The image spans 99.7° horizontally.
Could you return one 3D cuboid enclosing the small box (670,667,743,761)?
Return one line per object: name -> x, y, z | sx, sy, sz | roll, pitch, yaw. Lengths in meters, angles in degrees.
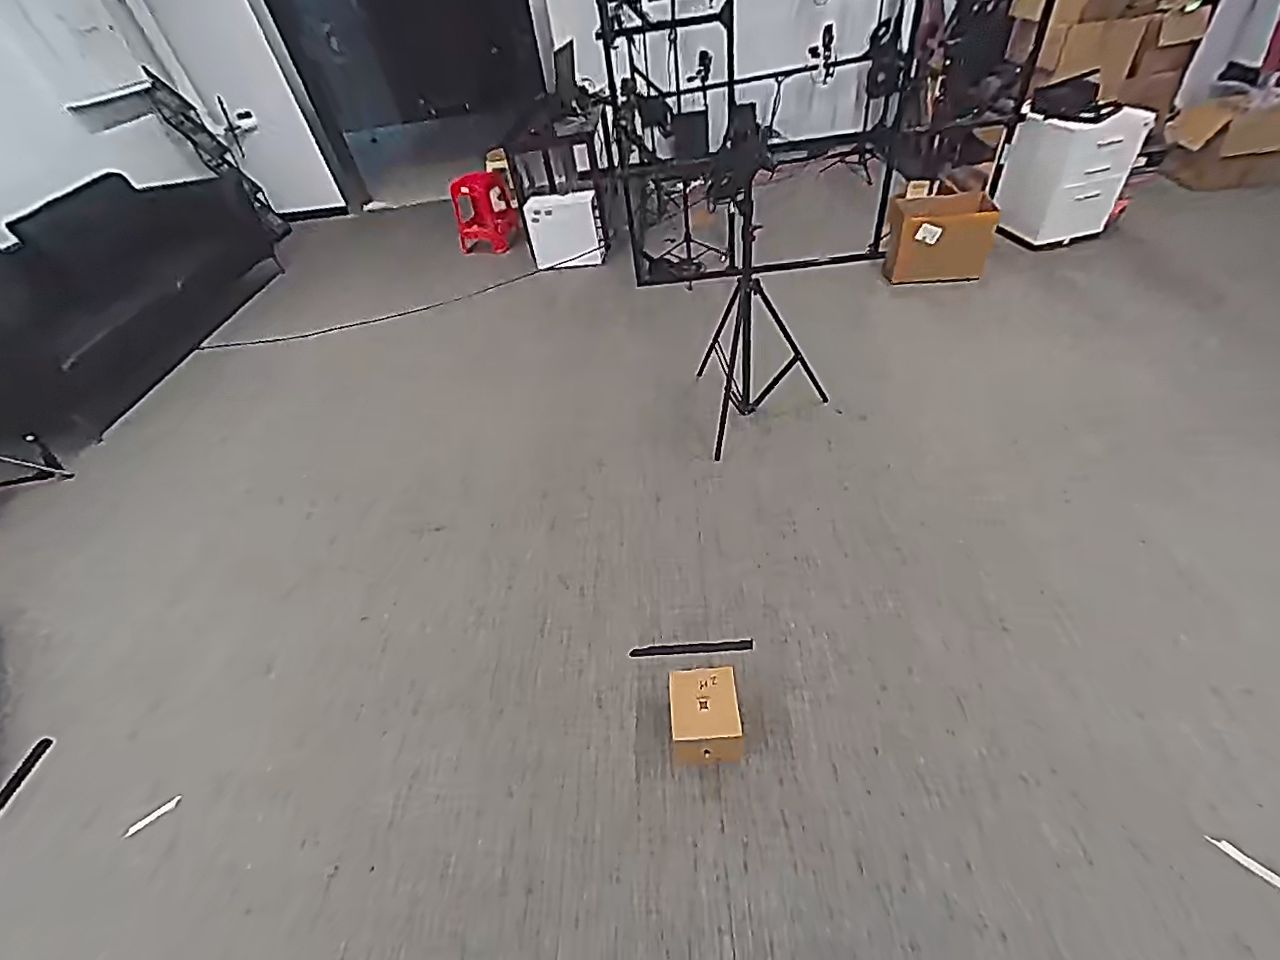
small box -> 0.169, 0.600, 1.375 | 0.168, 0.176, 0.179 | -6, 44, 4
